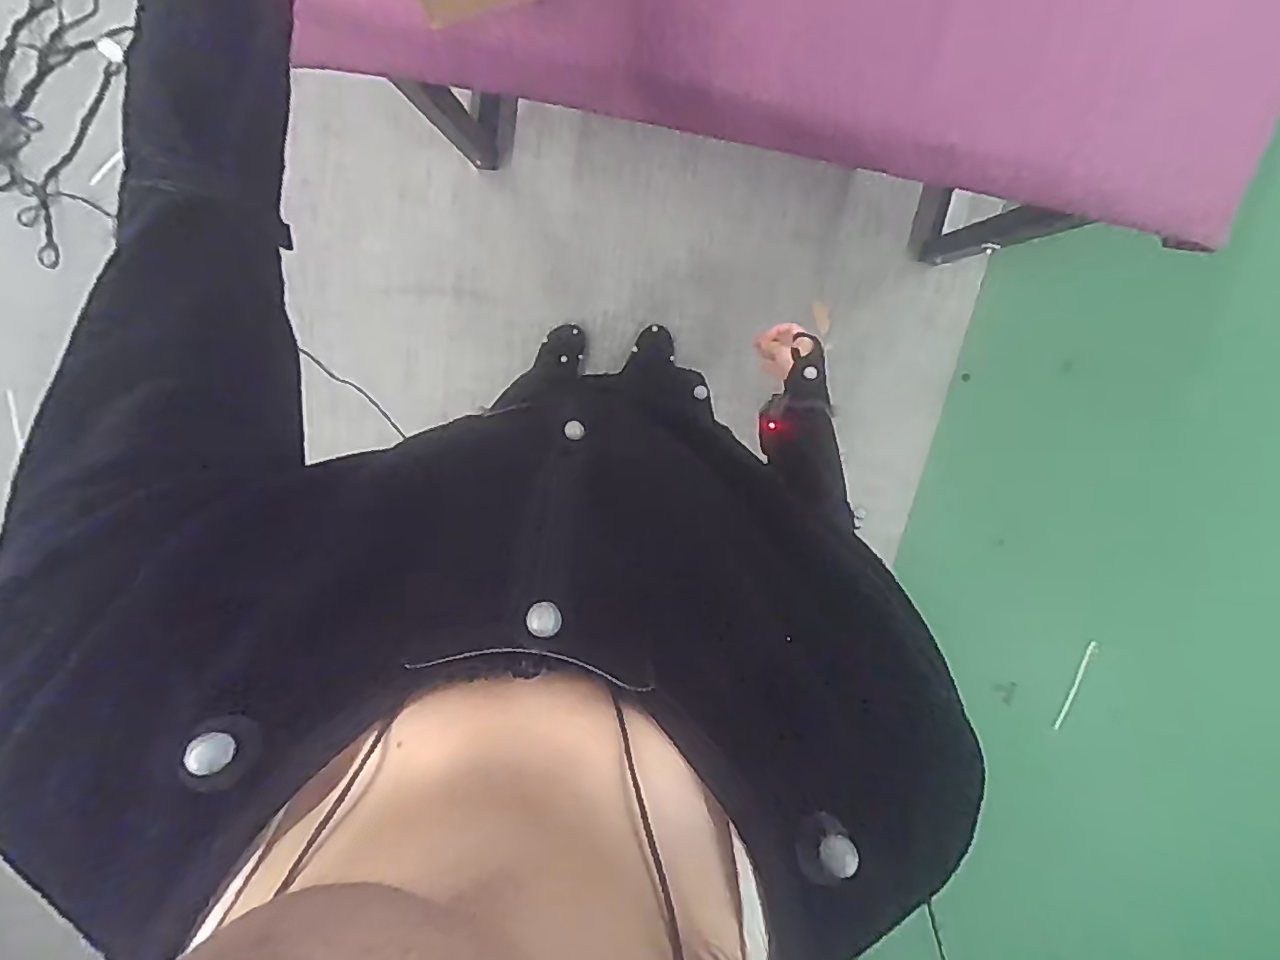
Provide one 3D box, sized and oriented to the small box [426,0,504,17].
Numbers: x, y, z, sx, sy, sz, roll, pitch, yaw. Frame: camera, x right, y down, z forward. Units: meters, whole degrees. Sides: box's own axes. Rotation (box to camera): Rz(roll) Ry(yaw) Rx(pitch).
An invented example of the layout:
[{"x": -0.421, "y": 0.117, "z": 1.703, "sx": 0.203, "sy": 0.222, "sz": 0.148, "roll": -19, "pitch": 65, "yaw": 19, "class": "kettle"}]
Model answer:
[{"x": -0.175, "y": -0.610, "z": 0.531, "sx": 0.179, "sy": 0.176, "sz": 0.168, "roll": -14, "pitch": 103, "yaw": 4, "class": "small box"}]
